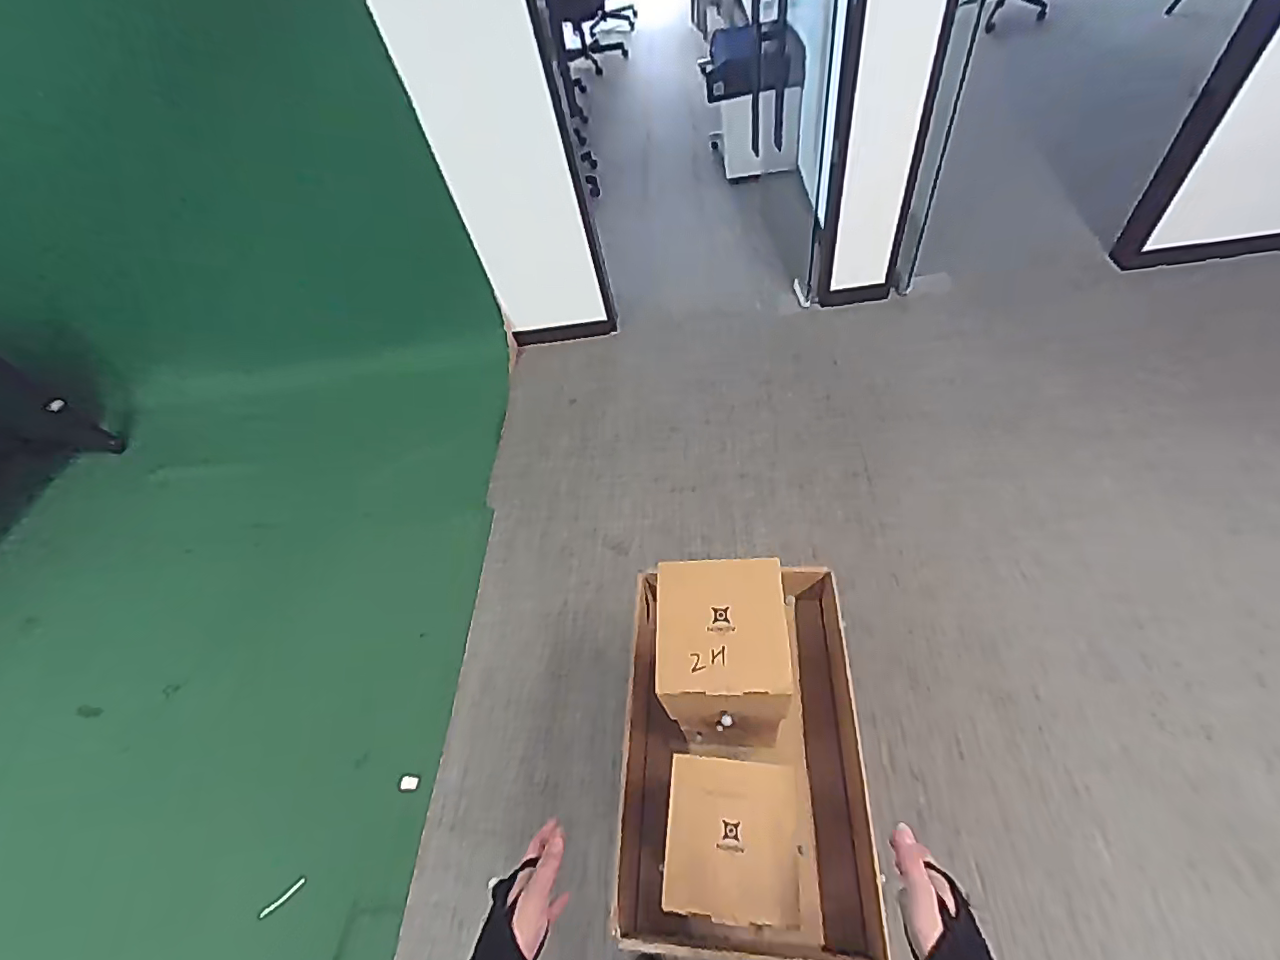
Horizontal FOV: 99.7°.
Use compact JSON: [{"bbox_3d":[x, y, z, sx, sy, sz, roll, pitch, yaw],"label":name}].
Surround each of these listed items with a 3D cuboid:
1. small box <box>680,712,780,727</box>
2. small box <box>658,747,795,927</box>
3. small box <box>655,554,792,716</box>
[{"bbox_3d":[0.141,0.297,0.896,0.168,0.176,0.179,-1,57,10],"label":"small box"},{"bbox_3d":[0.126,0.491,0.751,0.168,0.176,0.179,1,54,11],"label":"small box"},{"bbox_3d":[0.114,0.218,0.753,0.168,0.176,0.179,-3,56,9],"label":"small box"}]
